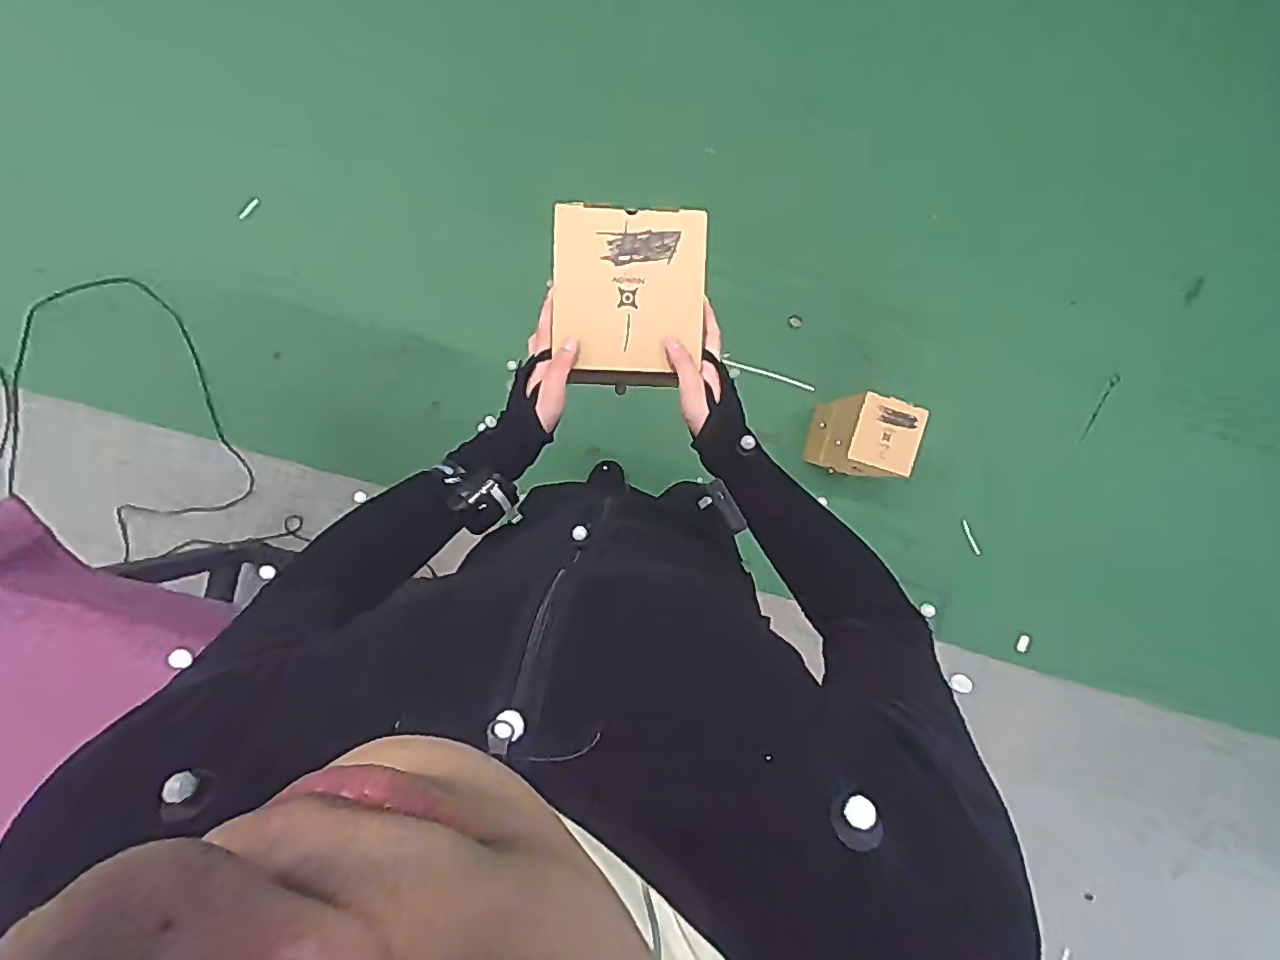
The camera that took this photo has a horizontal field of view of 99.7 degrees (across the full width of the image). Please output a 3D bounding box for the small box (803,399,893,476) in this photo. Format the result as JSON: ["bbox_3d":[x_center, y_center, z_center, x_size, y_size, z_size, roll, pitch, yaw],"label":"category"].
[{"bbox_3d":[0.597,-0.119,1.573,0.168,0.176,0.179,18,91,-2],"label":"small box"}]

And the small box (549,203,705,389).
[{"bbox_3d":[-0.018,-0.210,0.661,0.168,0.176,0.179,2,95,-2],"label":"small box"}]
